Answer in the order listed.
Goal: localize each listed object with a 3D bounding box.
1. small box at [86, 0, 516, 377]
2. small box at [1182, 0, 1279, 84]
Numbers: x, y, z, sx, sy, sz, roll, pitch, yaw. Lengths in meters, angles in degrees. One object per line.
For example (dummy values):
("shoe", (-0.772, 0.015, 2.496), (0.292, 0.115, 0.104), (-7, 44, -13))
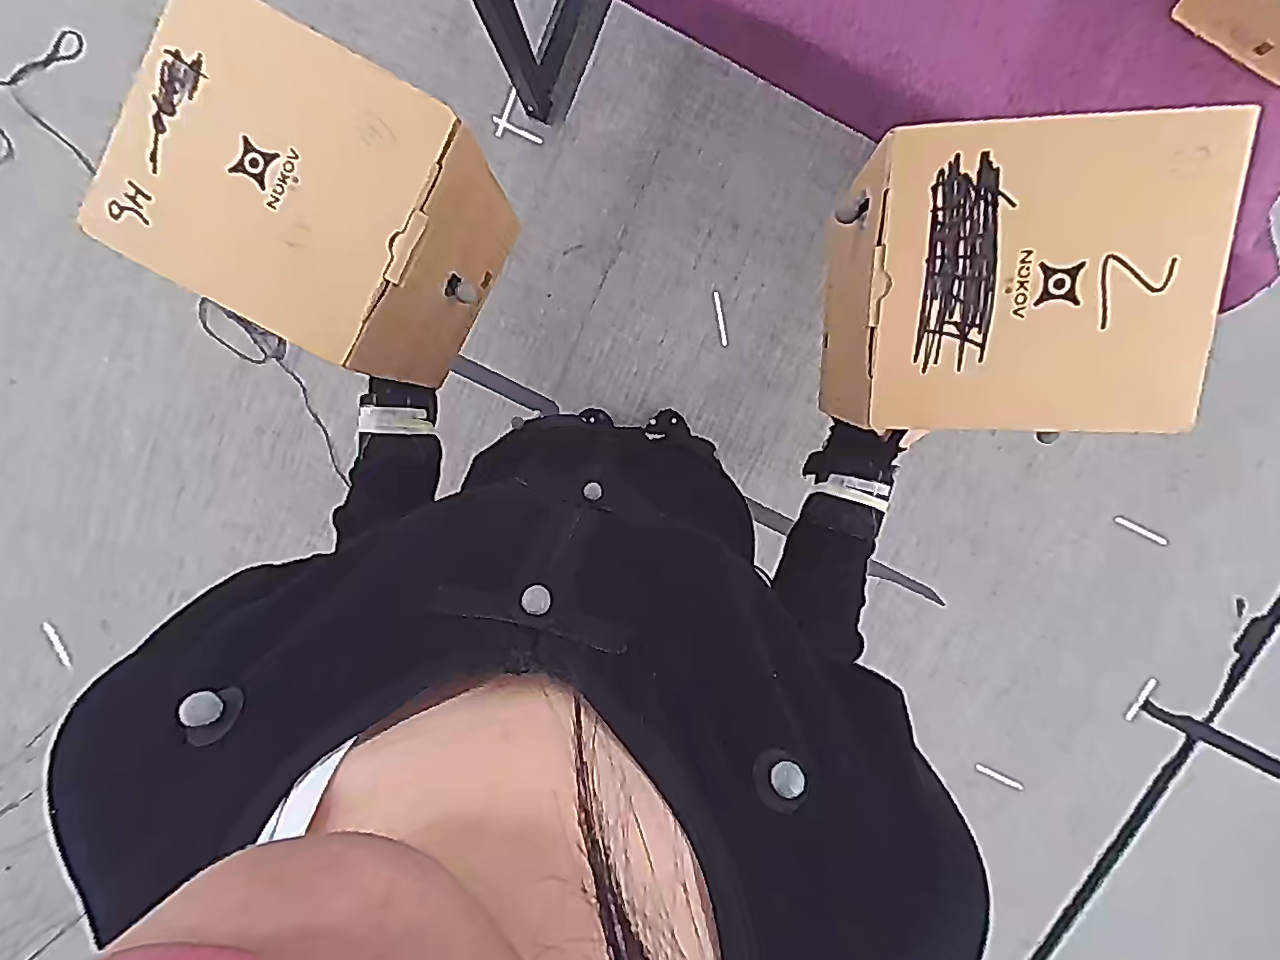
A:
("small box", (-0.211, -0.186, 0.394), (0.179, 0.176, 0.168), (28, 94, -4))
("small box", (0.738, -0.571, 0.560), (0.168, 0.176, 0.179), (31, 97, -2))
